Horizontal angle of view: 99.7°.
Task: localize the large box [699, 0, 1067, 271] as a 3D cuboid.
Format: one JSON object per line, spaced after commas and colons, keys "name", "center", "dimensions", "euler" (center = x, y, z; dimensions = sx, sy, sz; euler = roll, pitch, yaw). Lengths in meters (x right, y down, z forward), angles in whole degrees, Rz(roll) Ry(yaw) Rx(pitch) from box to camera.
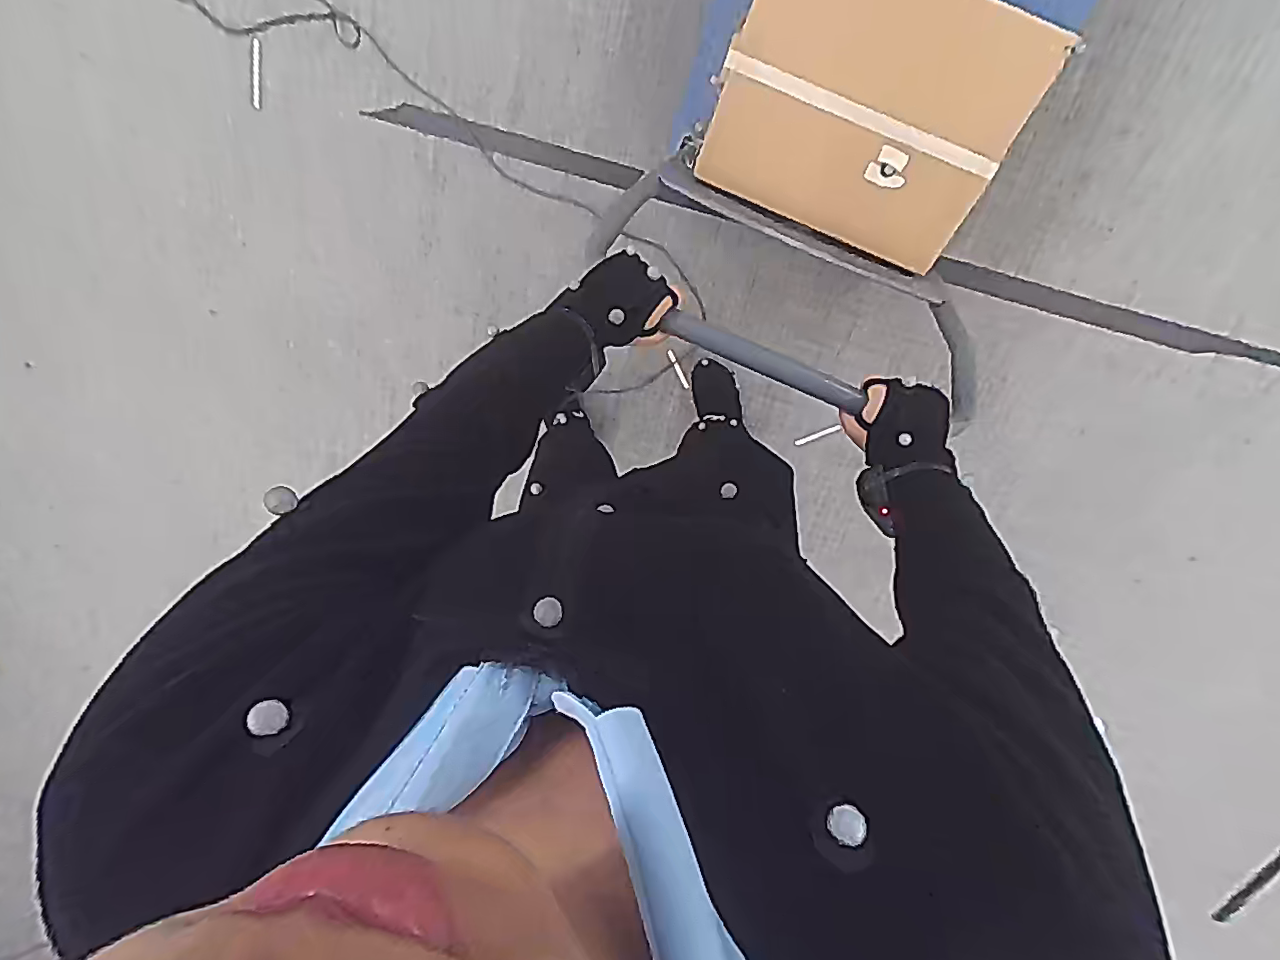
{"name": "large box", "center": [0.351, -0.604, 0.898], "dimensions": [0.408, 0.320, 0.320], "euler": [23, 128, -1]}
